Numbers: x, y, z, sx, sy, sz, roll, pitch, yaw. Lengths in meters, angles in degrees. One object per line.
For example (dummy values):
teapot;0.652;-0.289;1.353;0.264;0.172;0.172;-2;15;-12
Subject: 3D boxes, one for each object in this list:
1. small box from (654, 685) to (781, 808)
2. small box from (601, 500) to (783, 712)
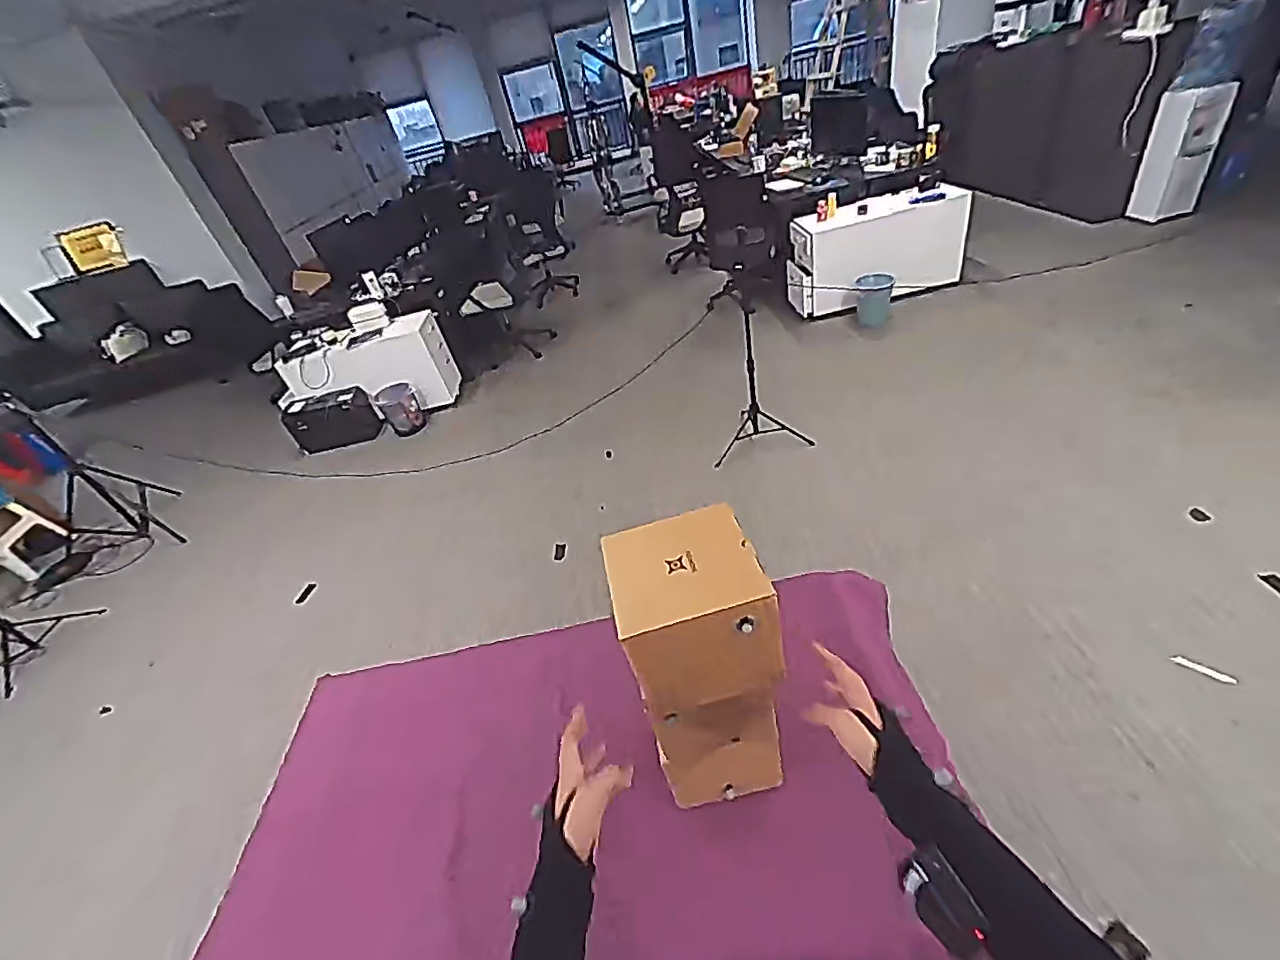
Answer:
small box;0.121;0.402;0.883;0.179;0.176;0.168;-14;37;1
small box;0.064;0.157;0.671;0.179;0.176;0.168;-16;37;-1
